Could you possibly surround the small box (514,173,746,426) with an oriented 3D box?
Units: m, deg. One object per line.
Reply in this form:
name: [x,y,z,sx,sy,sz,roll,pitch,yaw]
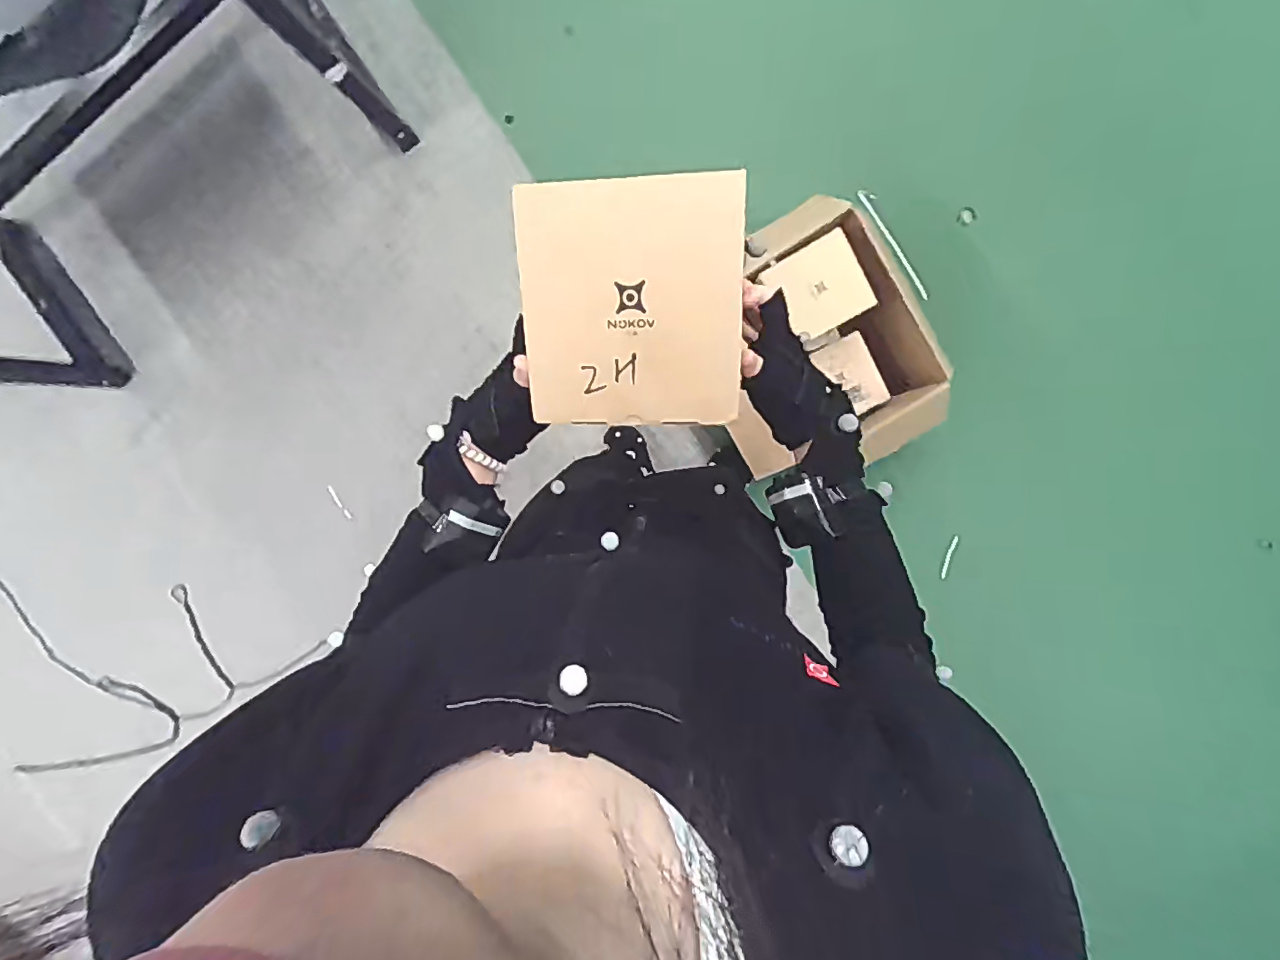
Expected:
small box: [0.002,-0.150,0.475,0.168,0.176,0.179,1,109,8]
